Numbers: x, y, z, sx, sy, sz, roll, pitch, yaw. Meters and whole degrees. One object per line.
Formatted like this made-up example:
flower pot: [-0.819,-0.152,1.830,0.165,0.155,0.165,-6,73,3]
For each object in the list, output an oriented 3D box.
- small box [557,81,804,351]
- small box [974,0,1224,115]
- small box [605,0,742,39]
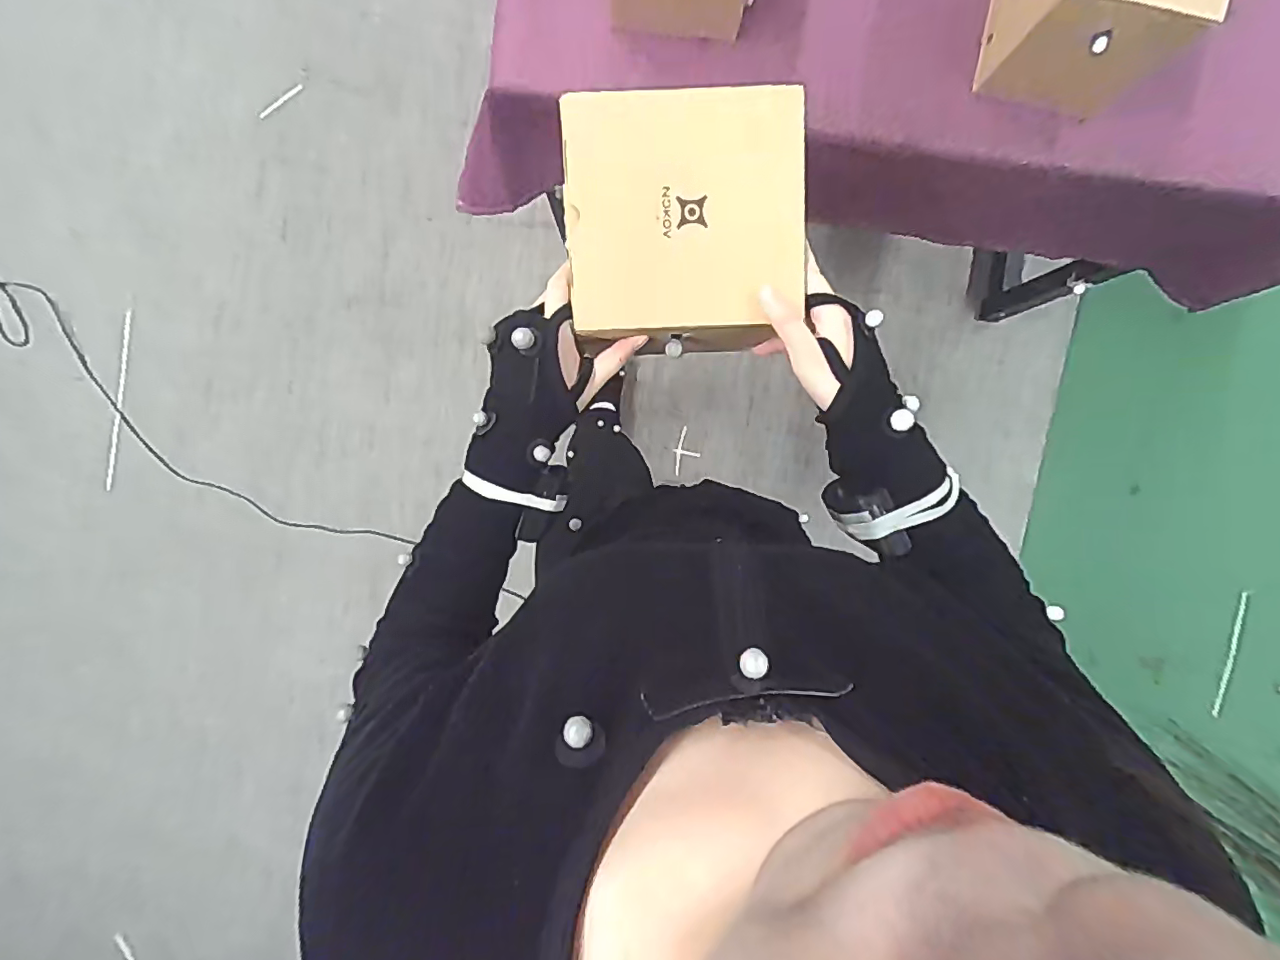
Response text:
small box: [0.030,-0.206,0.468,0.179,0.176,0.168,-2,97,1]
small box: [0.547,-0.583,0.652,0.179,0.176,0.168,12,93,-1]
small box: [0.049,-0.673,0.642,0.179,0.176,0.168,5,92,0]
